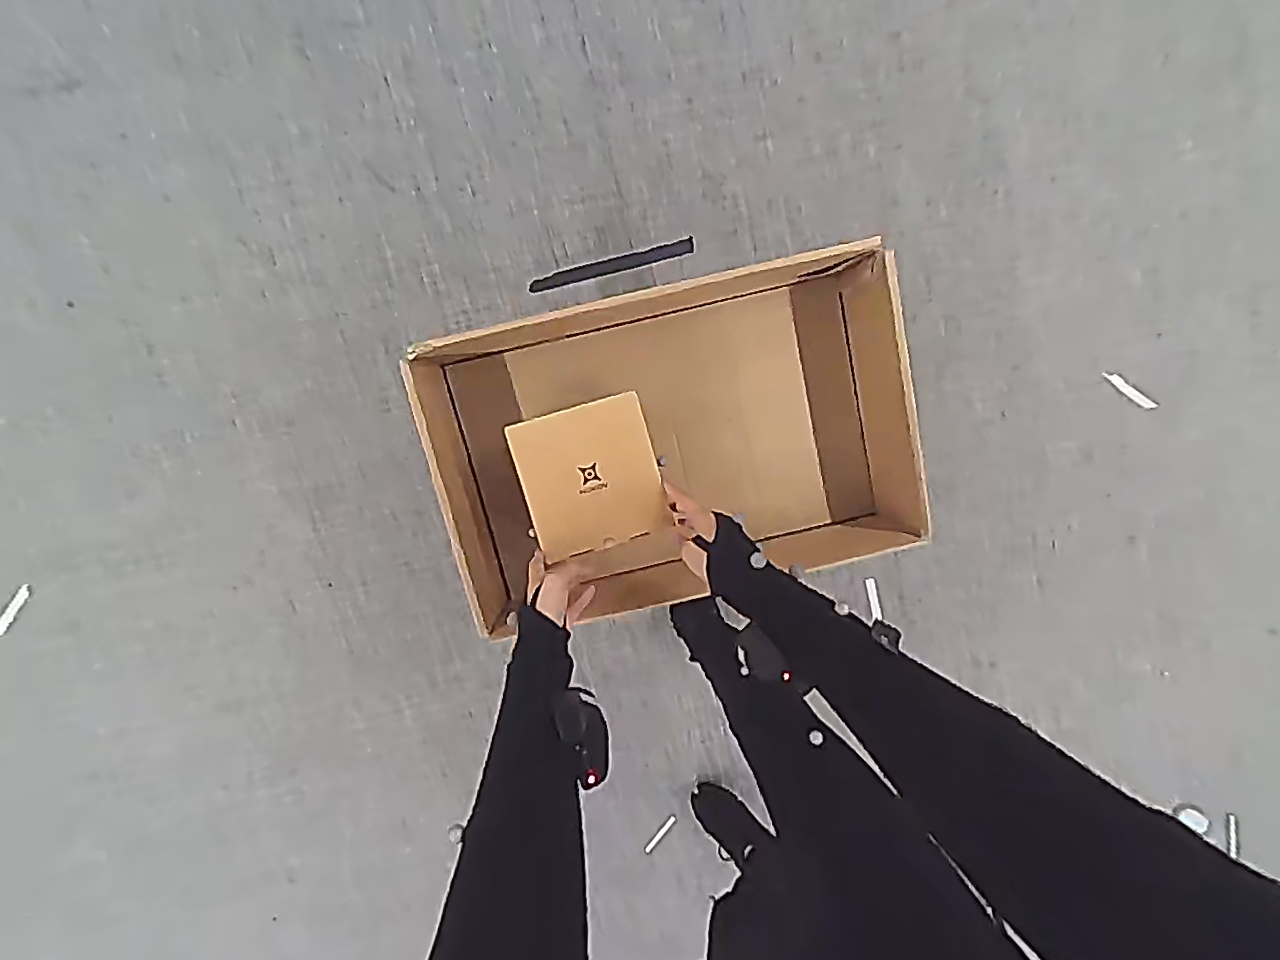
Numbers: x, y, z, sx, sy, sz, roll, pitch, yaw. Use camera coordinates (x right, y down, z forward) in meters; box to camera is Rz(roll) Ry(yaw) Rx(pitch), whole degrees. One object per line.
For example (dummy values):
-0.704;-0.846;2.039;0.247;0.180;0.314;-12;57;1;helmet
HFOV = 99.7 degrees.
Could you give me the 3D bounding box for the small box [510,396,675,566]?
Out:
-0.062;-0.004;0.733;0.168;0.176;0.179;-16;97;-2;small box
